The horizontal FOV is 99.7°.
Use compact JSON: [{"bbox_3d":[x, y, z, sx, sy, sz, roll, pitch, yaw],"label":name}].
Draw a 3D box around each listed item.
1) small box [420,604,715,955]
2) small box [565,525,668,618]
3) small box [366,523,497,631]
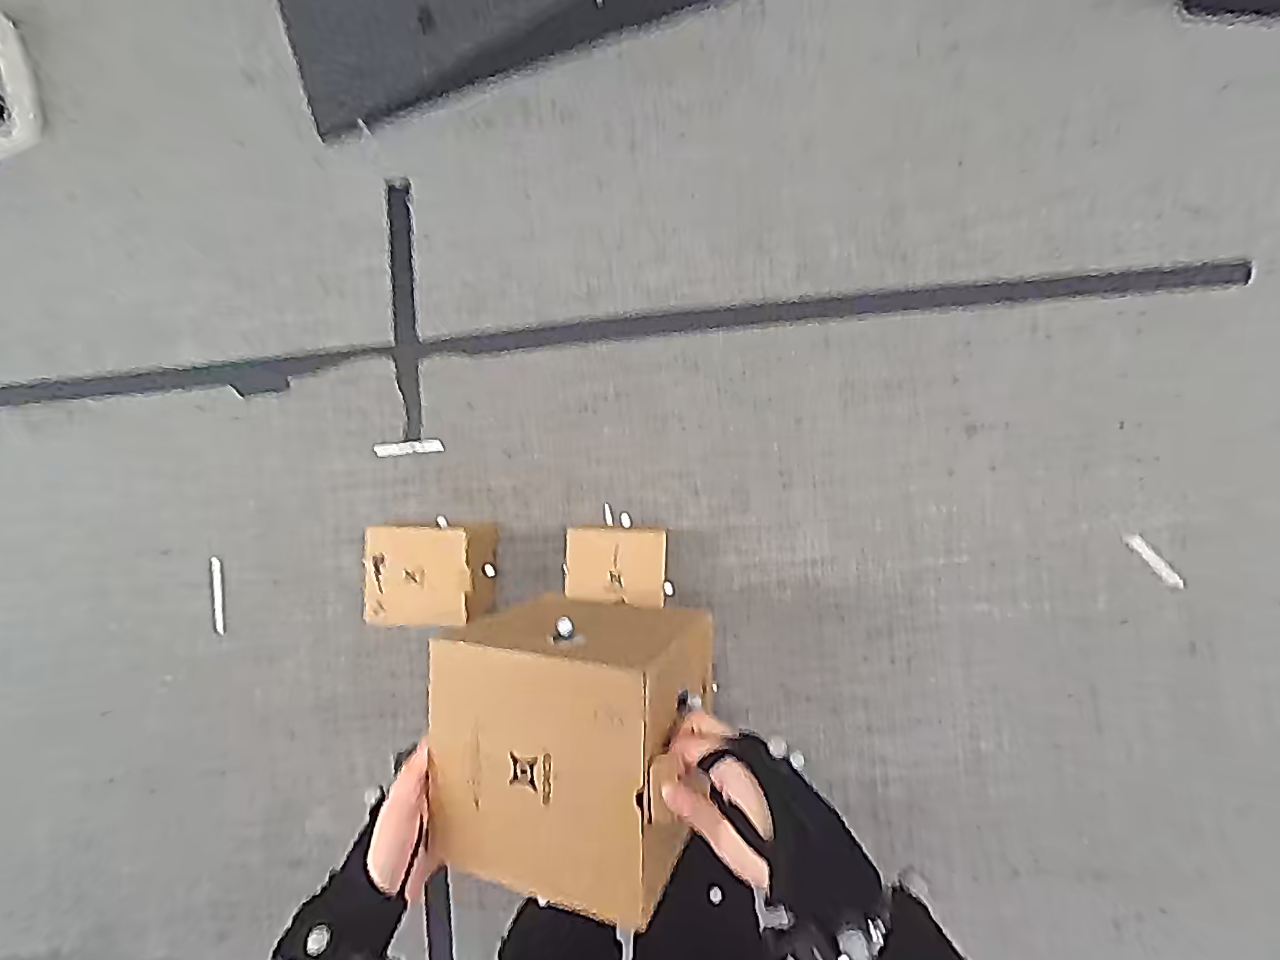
[{"bbox_3d":[-0.044,0.202,0.429,0.179,0.176,0.168,3,90,23],"label":"small box"},{"bbox_3d":[-0.035,0.177,0.967,0.168,0.176,0.179,3,89,2],"label":"small box"},{"bbox_3d":[-0.367,0.167,0.982,0.179,0.176,0.168,2,89,2],"label":"small box"}]
